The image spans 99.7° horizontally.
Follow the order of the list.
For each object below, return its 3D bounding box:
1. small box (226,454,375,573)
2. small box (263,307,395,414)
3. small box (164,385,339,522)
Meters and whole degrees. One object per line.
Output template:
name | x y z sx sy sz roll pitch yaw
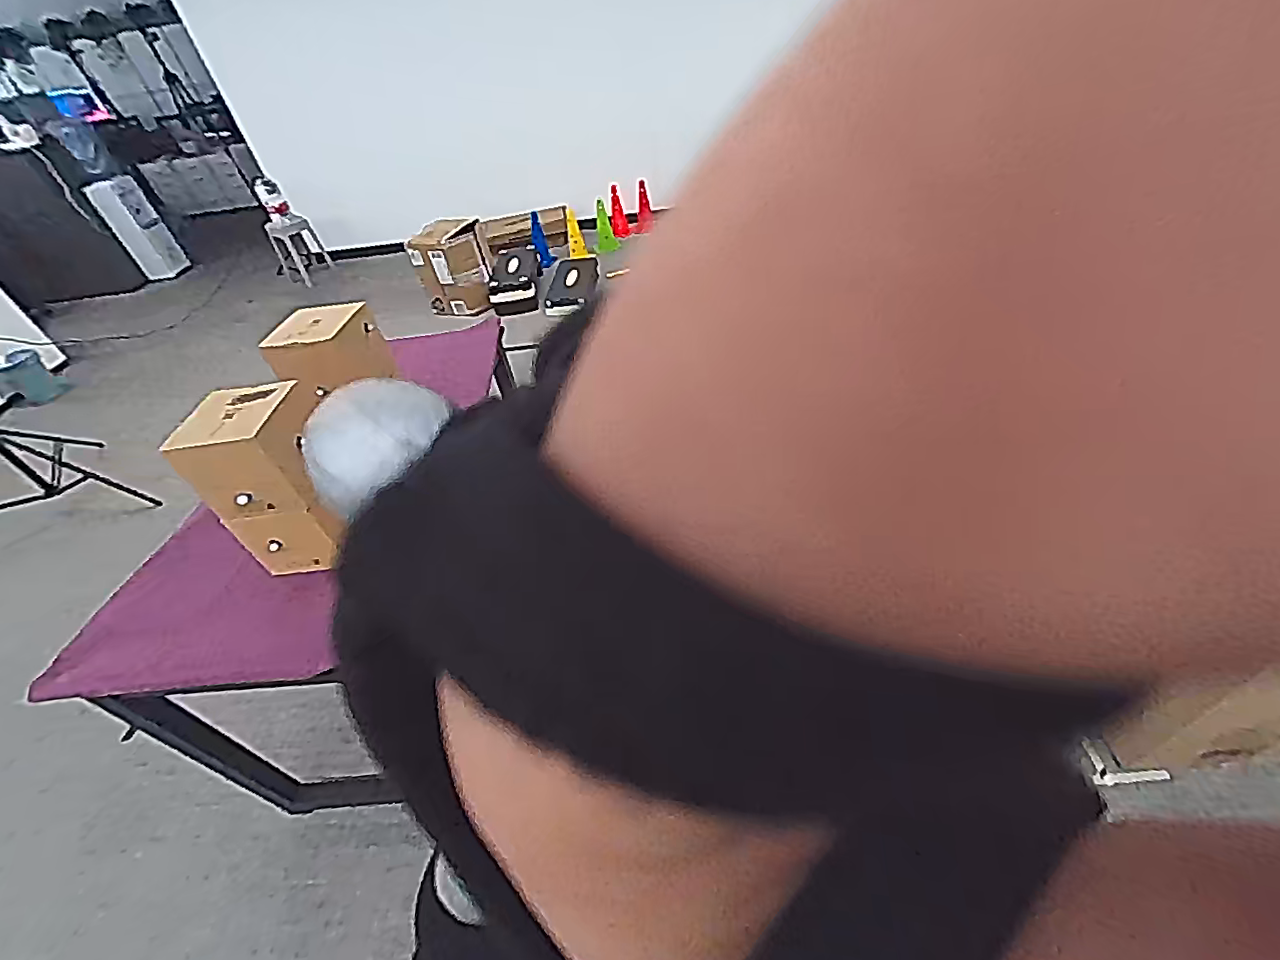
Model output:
small box | -0.666 0.074 1.091 0.168 0.176 0.179 -7 42 2
small box | -0.680 -0.266 1.212 0.168 0.176 0.179 -4 43 7
small box | -0.682 -0.048 0.982 0.168 0.176 0.179 -8 42 3
